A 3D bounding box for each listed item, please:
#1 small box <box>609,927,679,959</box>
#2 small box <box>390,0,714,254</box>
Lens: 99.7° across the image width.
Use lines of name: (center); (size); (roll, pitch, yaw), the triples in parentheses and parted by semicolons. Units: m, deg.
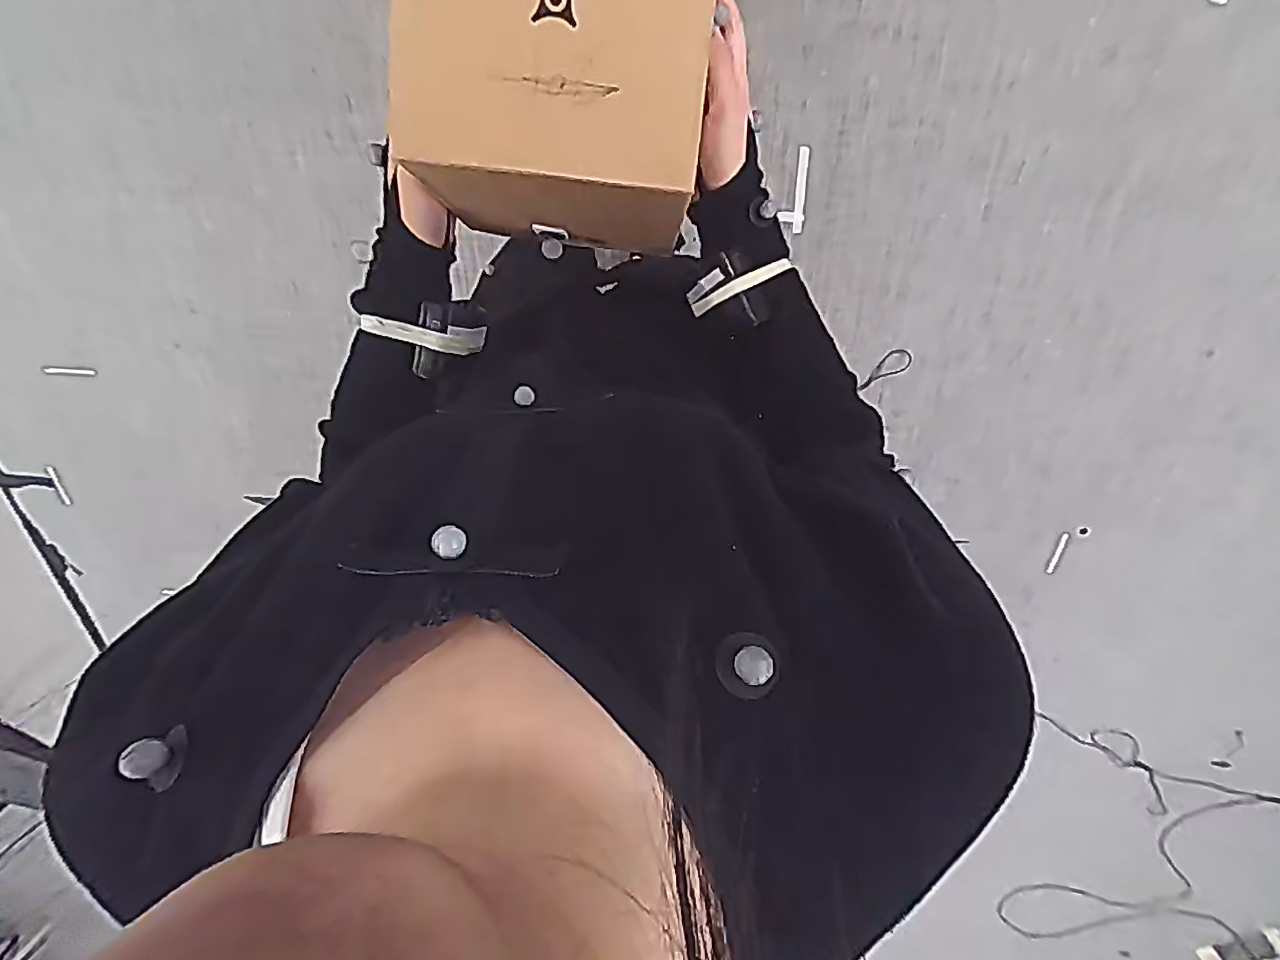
small box: (0.008, 1.212, 1.290); (0.168, 0.176, 0.179); (0, 117, 4)
small box: (-0.046, -0.268, 0.358); (0.168, 0.176, 0.179); (6, 101, -3)
